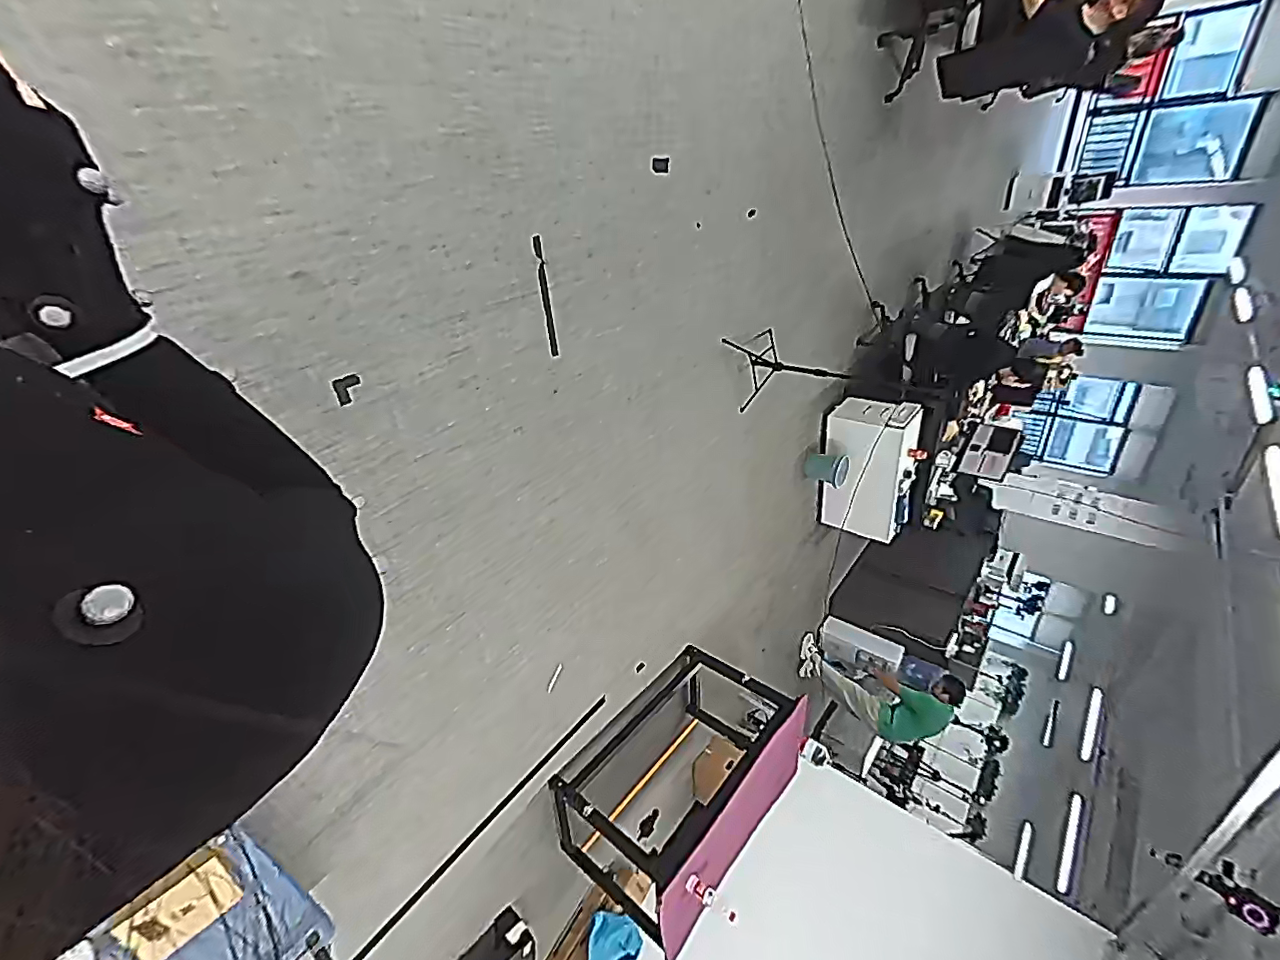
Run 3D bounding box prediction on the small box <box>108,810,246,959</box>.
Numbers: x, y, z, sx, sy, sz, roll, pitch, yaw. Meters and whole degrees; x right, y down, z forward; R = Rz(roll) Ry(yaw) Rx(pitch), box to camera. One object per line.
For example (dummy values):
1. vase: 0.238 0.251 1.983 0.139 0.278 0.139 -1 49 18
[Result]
1. small box: -1.016 0.882 1.184 0.179 0.176 0.168 -31 129 -42
